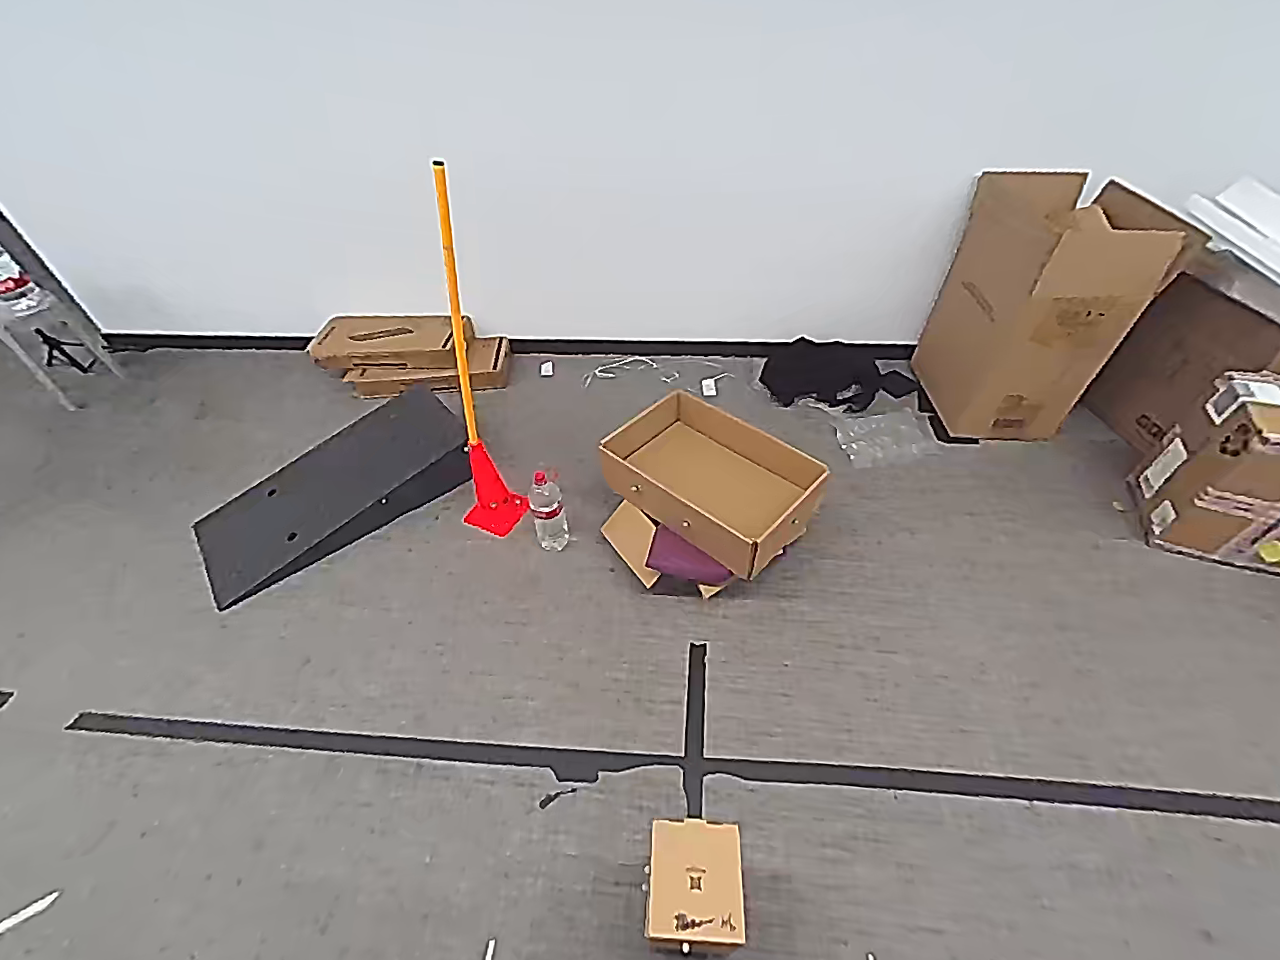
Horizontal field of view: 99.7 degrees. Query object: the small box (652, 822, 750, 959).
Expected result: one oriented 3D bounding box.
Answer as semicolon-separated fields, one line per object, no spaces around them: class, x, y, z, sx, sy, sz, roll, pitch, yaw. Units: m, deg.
small box;0.109;0.772;1.015;0.168;0.176;0.179;1;44;4
